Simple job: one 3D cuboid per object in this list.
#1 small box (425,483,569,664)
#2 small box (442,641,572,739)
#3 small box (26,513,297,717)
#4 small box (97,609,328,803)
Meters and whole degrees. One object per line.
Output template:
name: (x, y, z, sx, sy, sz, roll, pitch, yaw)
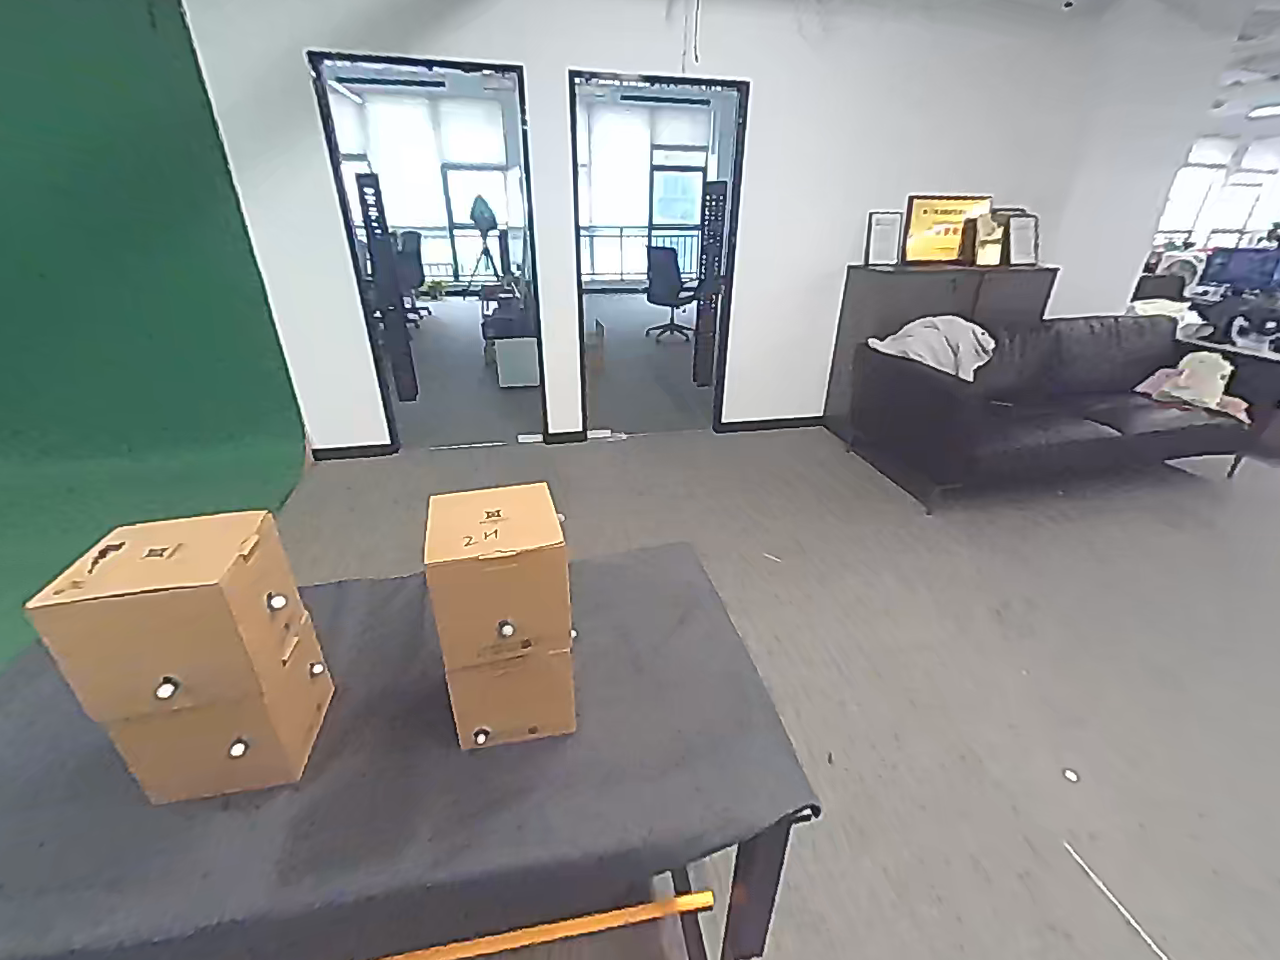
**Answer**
small box: (-0.195, 0.122, 0.749, 0.168, 0.176, 0.179, -8, 28, -15)
small box: (-0.195, 0.268, 0.824, 0.168, 0.176, 0.179, -4, 26, -11)
small box: (-0.554, 0.158, 0.664, 0.179, 0.176, 0.168, -5, 26, -14)
small box: (-0.557, 0.304, 0.741, 0.179, 0.176, 0.168, -5, 26, -11)
